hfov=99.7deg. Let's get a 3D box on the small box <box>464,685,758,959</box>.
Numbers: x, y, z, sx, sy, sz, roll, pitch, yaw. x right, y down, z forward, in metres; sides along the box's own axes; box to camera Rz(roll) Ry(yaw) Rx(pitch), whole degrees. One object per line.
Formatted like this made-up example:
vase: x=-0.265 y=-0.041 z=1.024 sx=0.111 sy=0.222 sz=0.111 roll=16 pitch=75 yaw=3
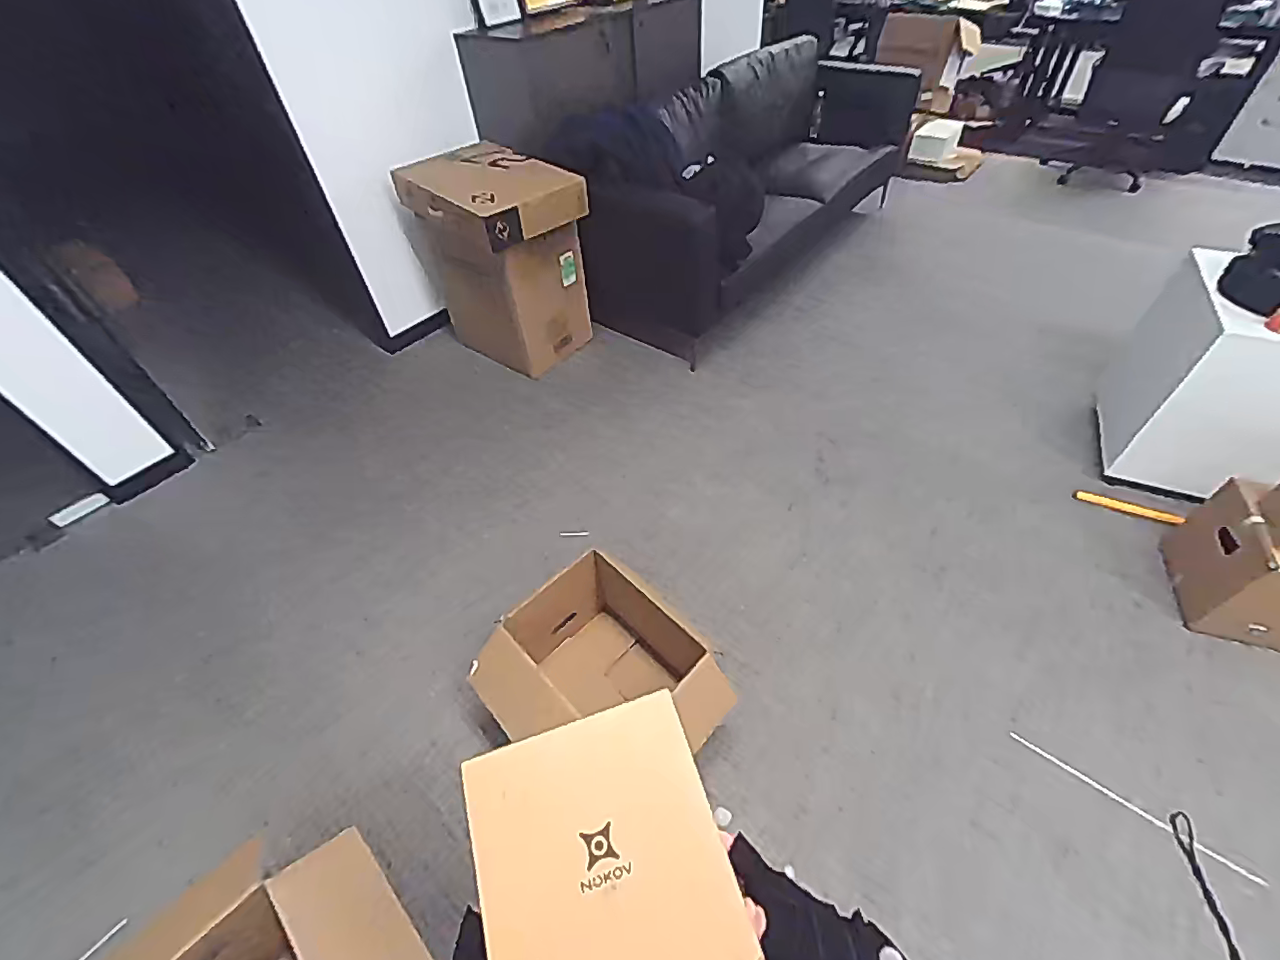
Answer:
small box: x=-0.030 y=0.295 z=0.437 sx=0.168 sy=0.176 sz=0.179 roll=-16 pitch=58 yaw=-11
